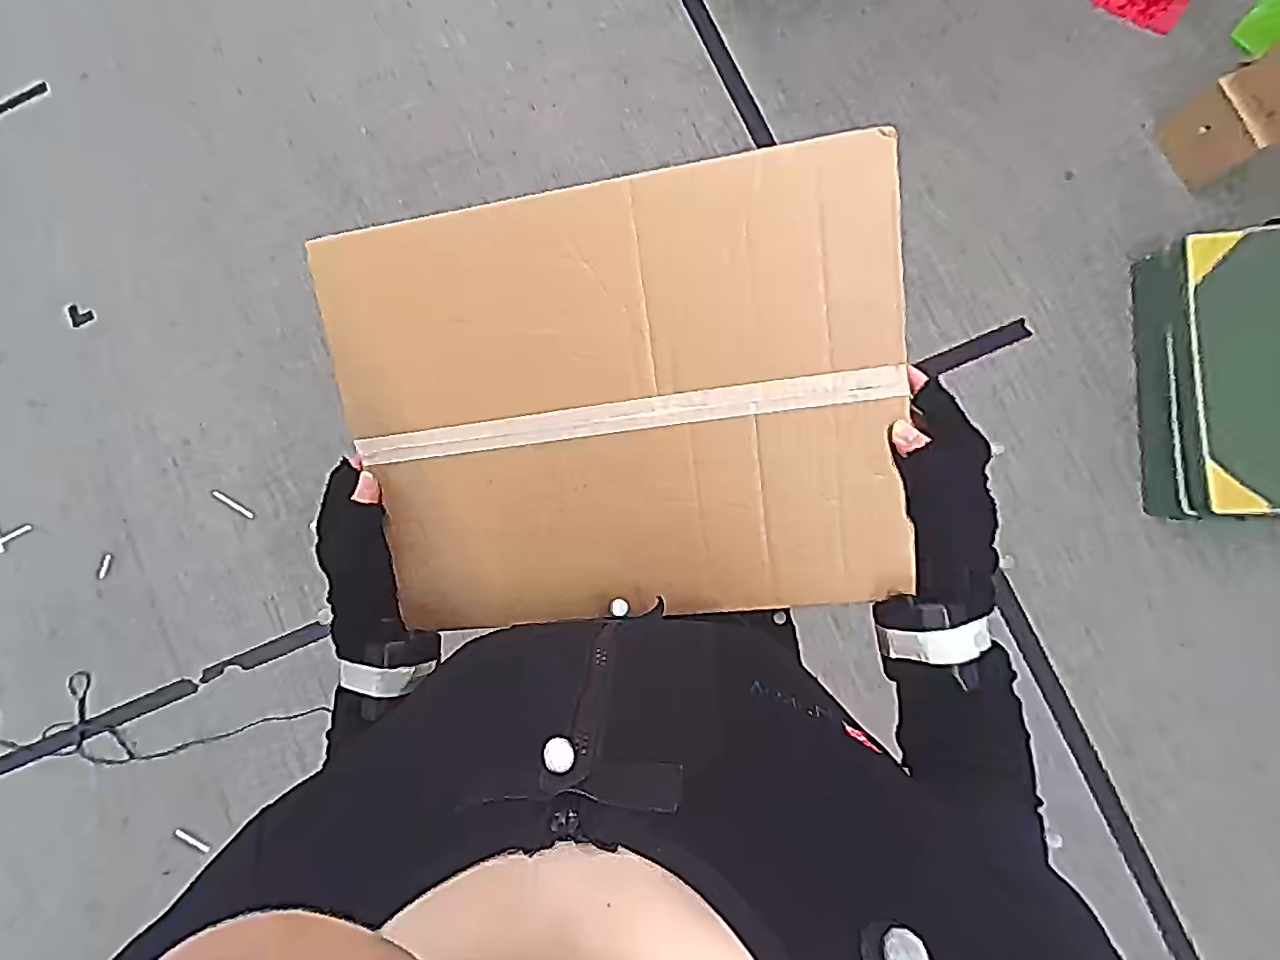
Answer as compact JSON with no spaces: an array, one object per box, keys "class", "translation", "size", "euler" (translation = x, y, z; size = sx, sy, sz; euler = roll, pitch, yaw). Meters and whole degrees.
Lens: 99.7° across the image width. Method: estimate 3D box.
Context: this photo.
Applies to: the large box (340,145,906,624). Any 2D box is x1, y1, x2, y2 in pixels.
[{"class":"large box","translation":[0.003,-0.077,0.552],"size":[0.408,0.320,0.320],"euler":[-6,103,9]}]
